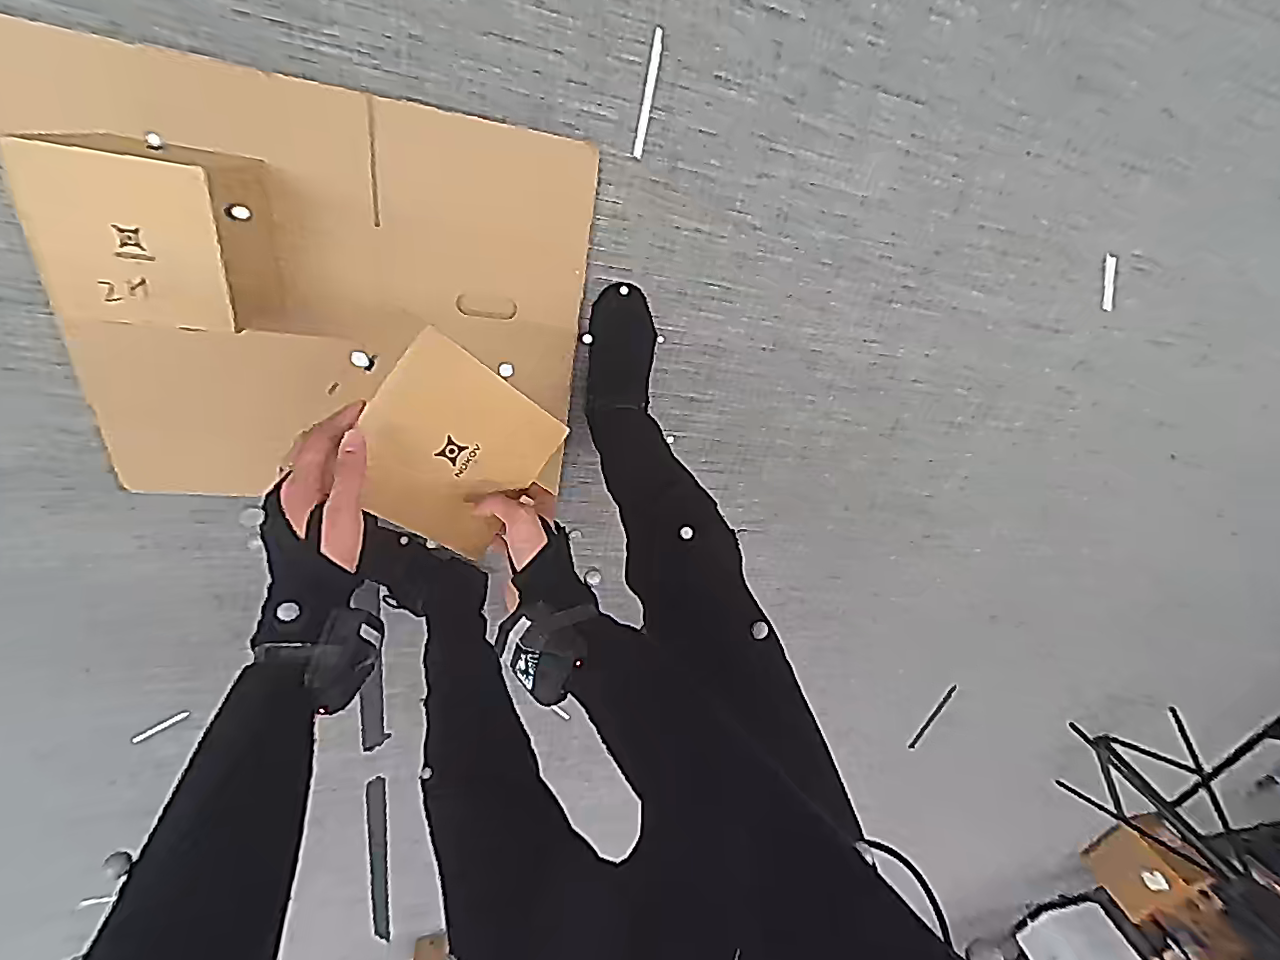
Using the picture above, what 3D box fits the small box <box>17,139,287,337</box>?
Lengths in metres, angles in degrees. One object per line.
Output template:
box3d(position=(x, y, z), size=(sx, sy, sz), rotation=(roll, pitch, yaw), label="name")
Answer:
box3d(position=(-0.545, -0.287, 0.640), size=(0.168, 0.176, 0.179), rotation=(3, 121, -15), label="small box")

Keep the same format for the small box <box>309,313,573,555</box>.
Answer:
box3d(position=(-0.211, -0.054, 0.561), size=(0.179, 0.176, 0.168), rotation=(38, 86, -41), label="small box")
